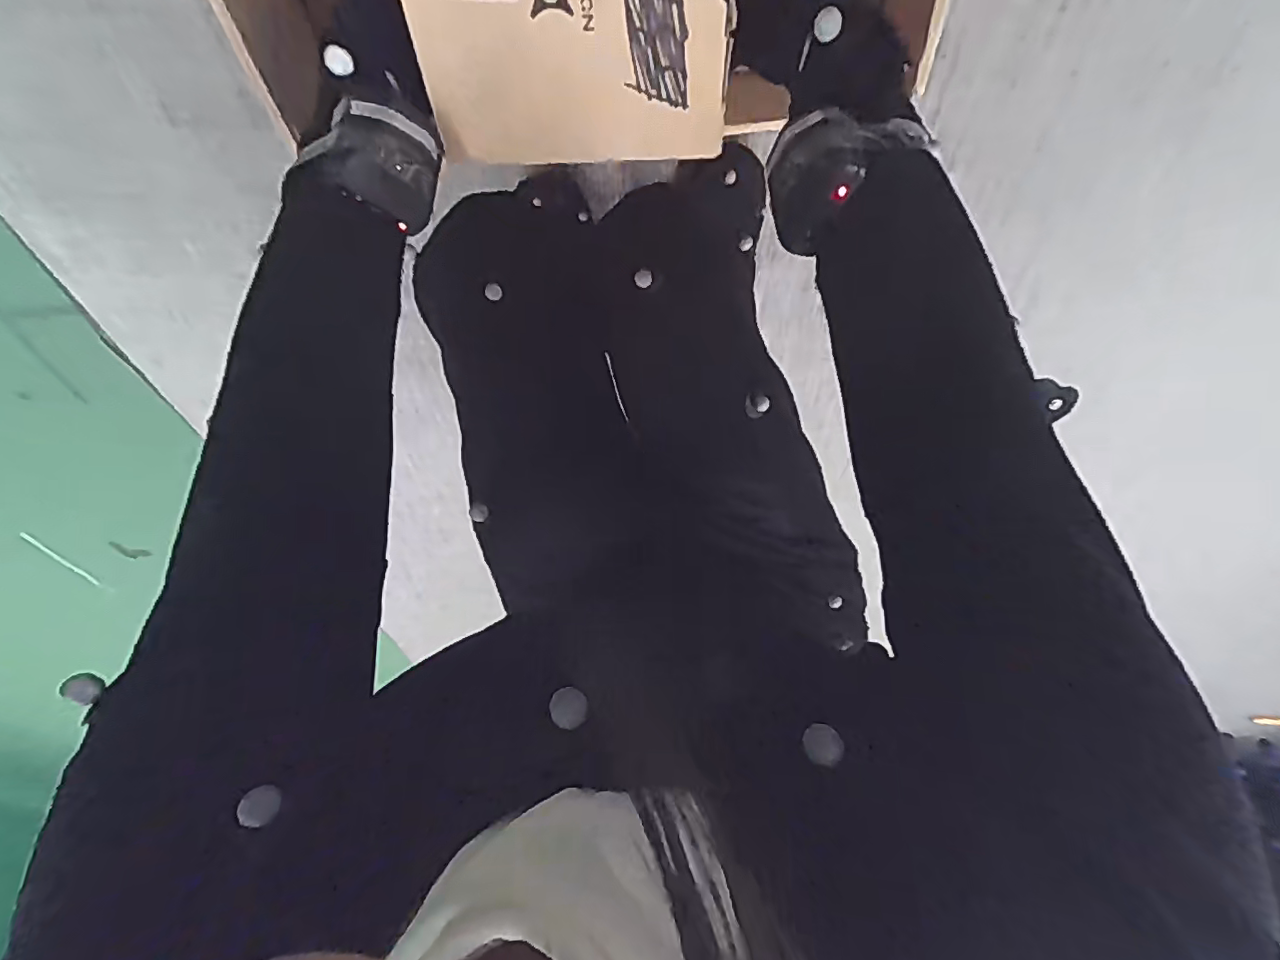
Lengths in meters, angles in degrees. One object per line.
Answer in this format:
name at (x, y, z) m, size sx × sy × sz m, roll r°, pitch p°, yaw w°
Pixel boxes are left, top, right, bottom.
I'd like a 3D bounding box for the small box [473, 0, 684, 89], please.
small box at (-0.047, -0.451, 0.438) m, size 0.168 × 0.176 × 0.179 m, roll -2°, pitch 141°, yaw 3°
